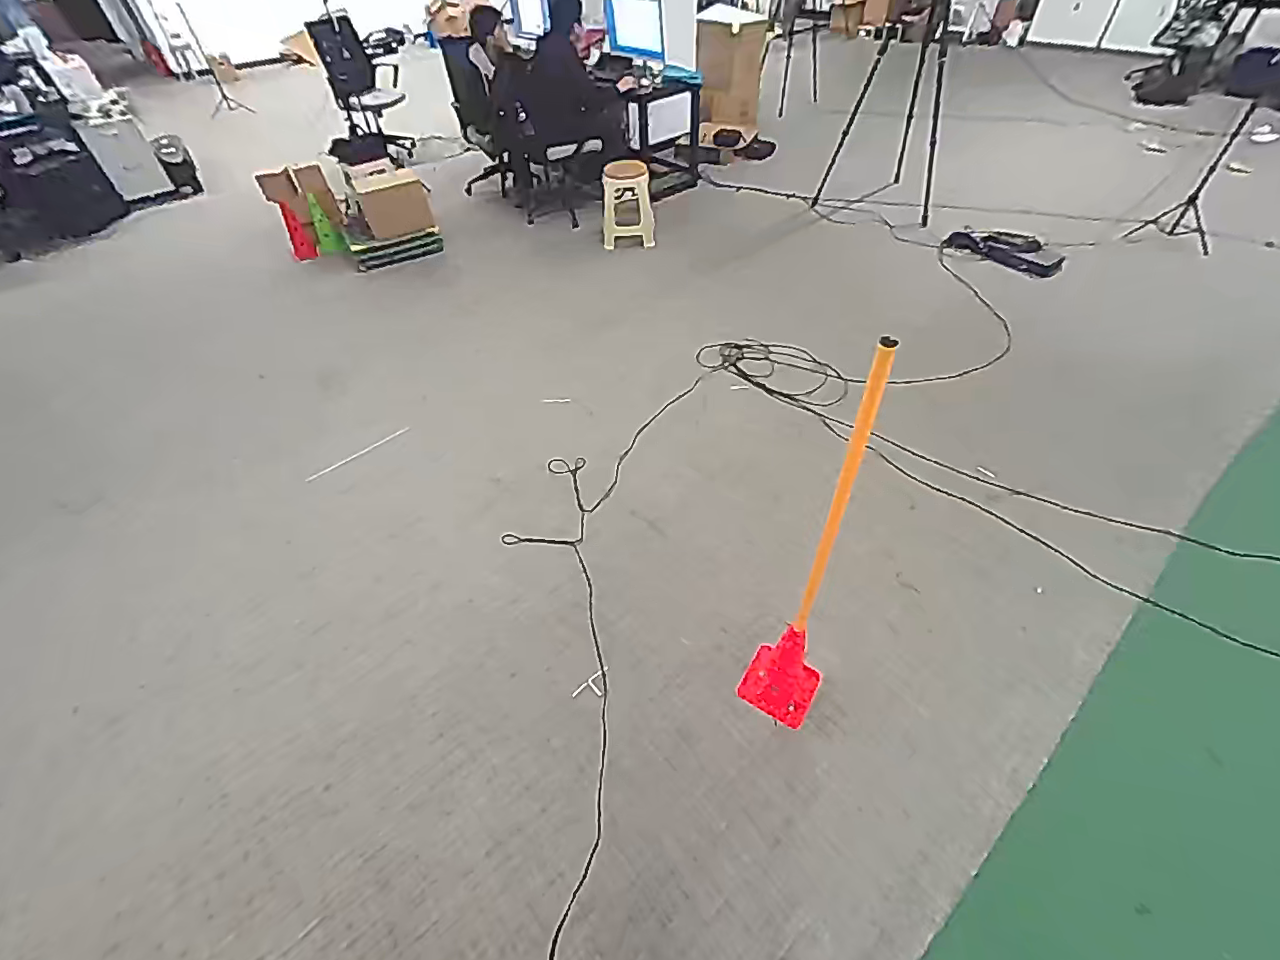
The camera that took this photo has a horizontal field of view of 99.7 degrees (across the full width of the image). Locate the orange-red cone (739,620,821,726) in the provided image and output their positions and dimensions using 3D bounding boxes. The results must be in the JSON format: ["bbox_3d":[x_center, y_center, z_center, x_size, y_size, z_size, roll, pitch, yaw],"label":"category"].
[{"bbox_3d":[0.411,0.487,1.489,0.198,0.360,0.199,26,53,24],"label":"orange-red cone"}]
